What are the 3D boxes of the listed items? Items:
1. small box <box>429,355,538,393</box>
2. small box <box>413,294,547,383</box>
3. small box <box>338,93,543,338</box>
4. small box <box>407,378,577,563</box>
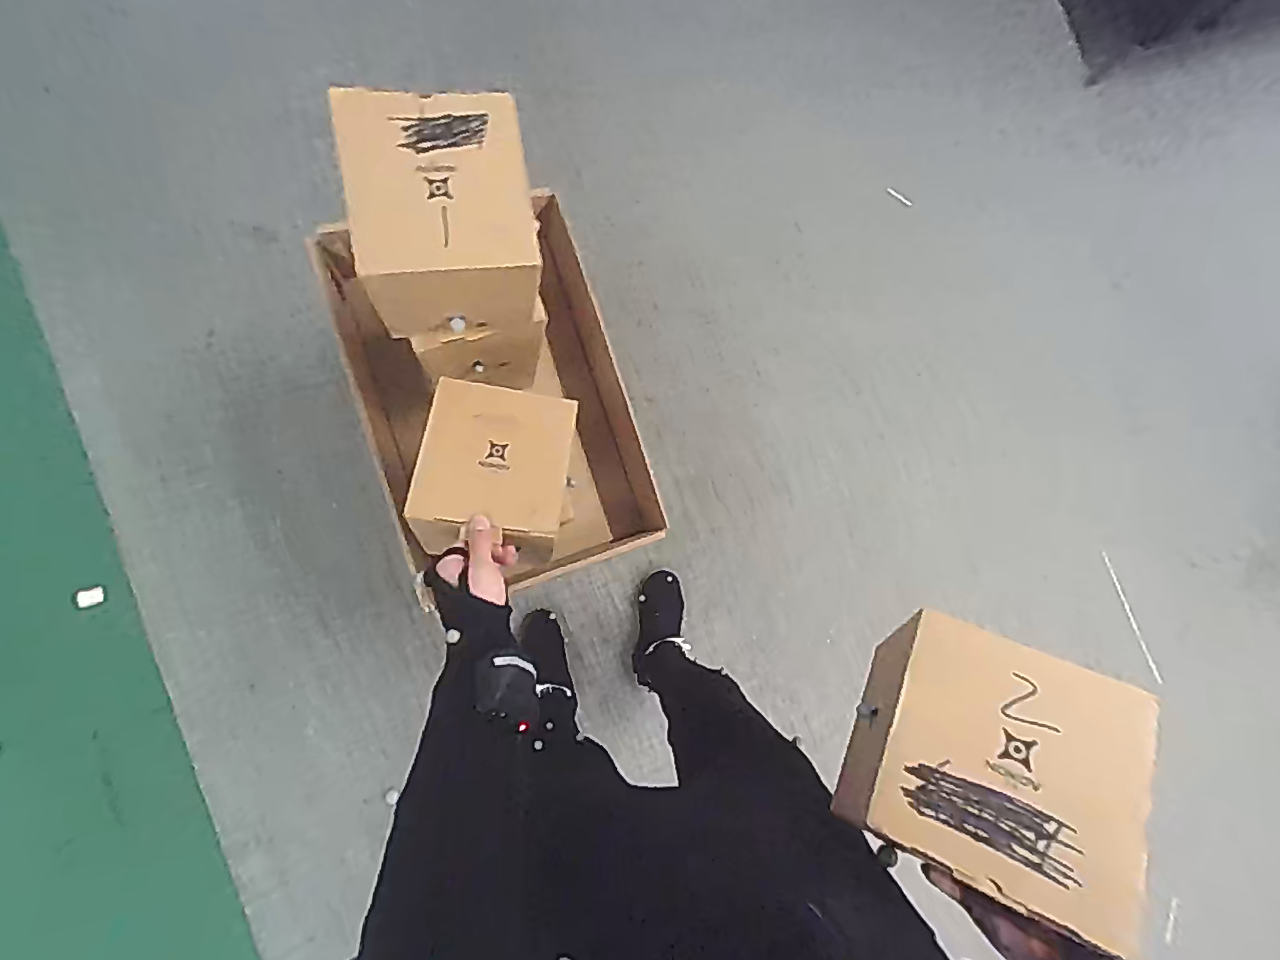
[{"bbox_3d":[-0.278,-0.238,0.899,0.168,0.176,0.179,-18,90,-14],"label":"small box"},{"bbox_3d":[-0.239,-0.251,0.743,0.168,0.176,0.179,-19,90,-15],"label":"small box"},{"bbox_3d":[-0.205,-0.269,0.583,0.168,0.176,0.179,-9,88,-15],"label":"small box"},{"bbox_3d":[-0.181,0.000,0.693,0.168,0.176,0.179,10,66,-11],"label":"small box"}]
